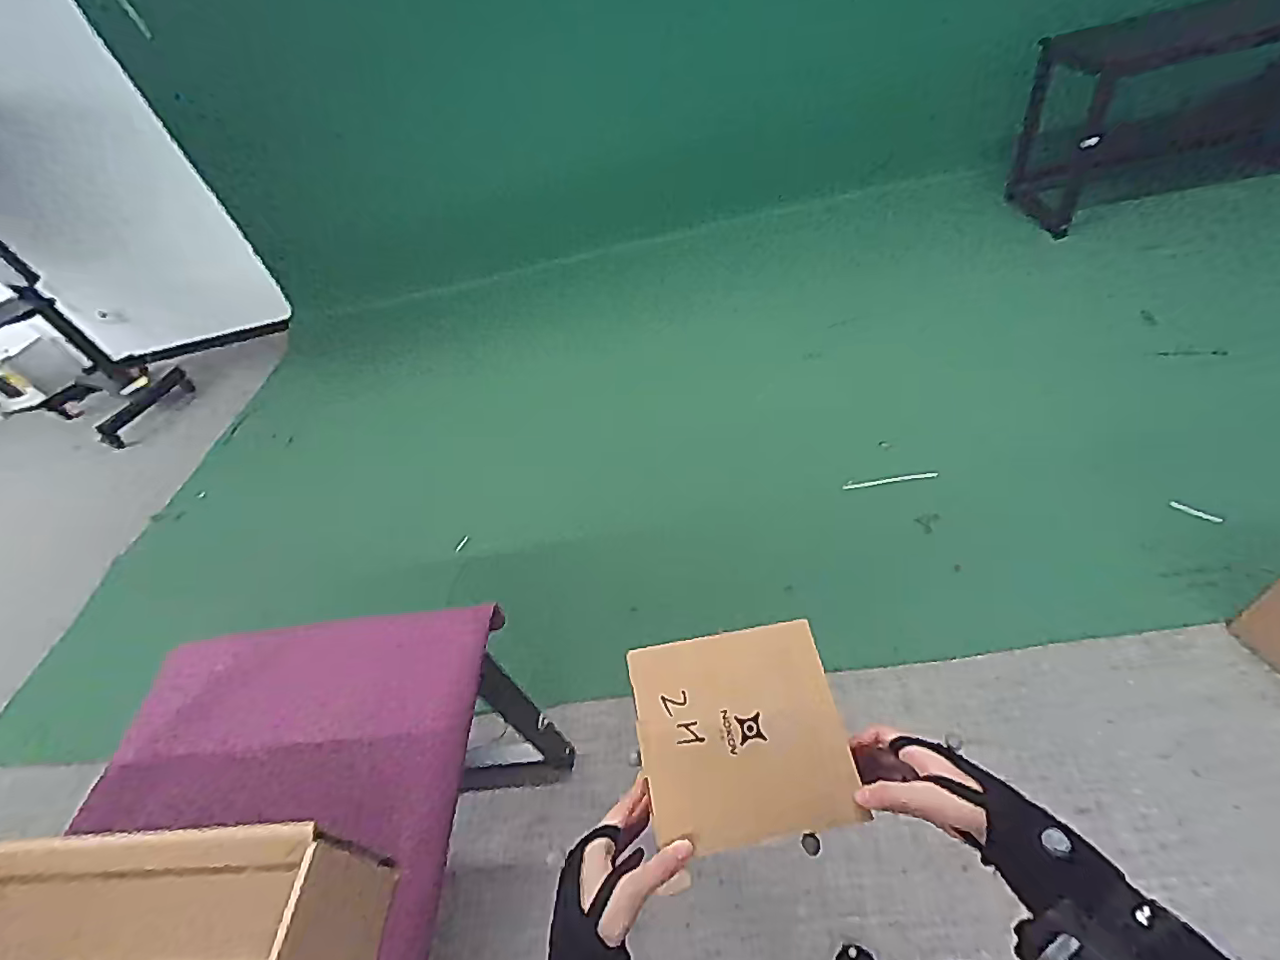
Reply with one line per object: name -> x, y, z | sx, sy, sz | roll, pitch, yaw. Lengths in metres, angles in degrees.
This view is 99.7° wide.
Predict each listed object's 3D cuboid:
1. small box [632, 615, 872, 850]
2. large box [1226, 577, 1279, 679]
small box -> 0.090, 0.246, 0.530 | 0.179, 0.176, 0.168 | -9, 59, -3
large box -> 1.627, 0.356, 1.121 | 0.320, 0.320, 0.408 | -19, 43, -3
